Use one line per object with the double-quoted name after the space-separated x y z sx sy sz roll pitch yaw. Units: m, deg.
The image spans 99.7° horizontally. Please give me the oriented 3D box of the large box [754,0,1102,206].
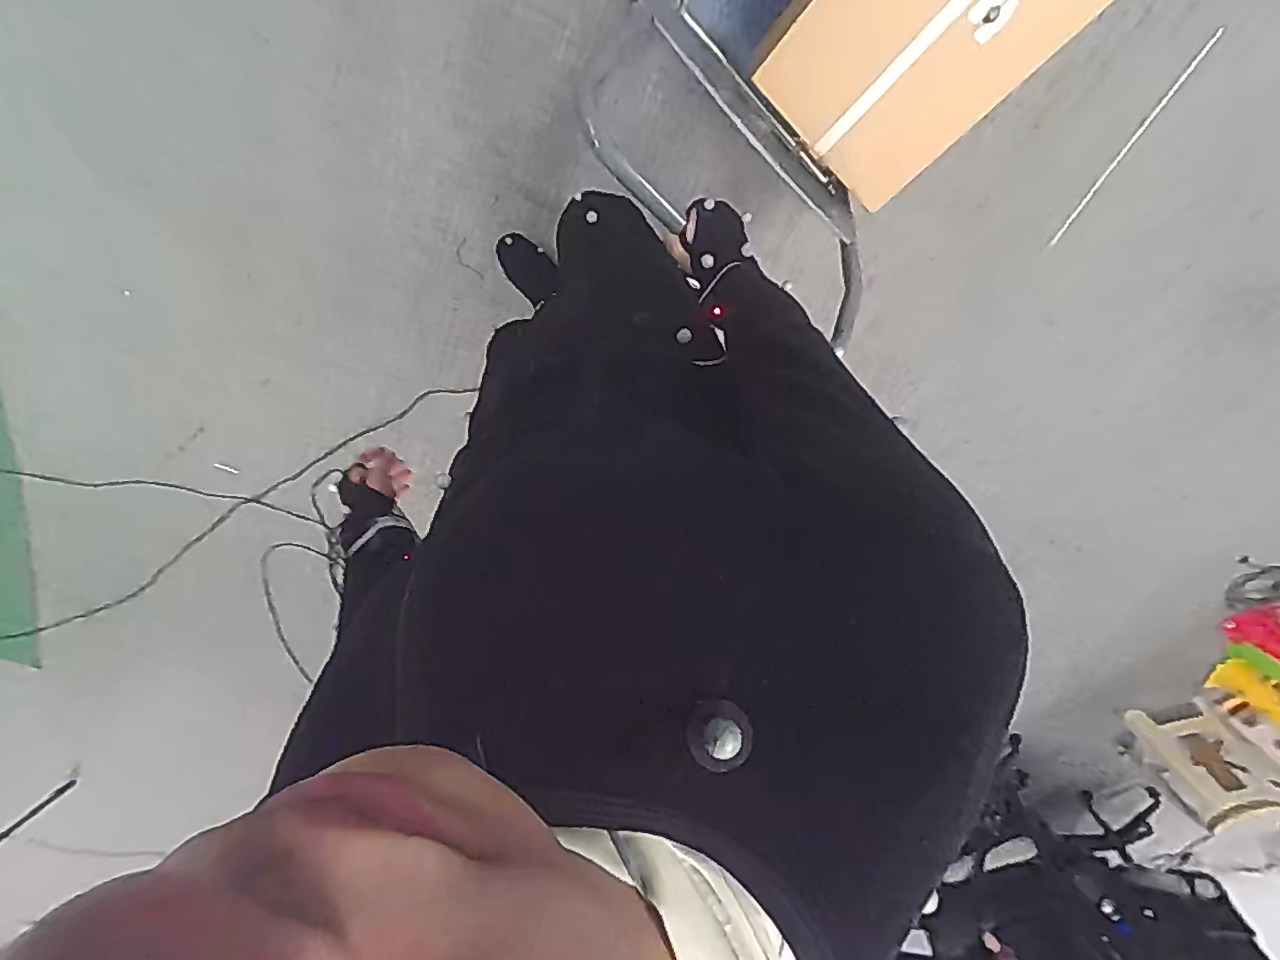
0.438 -0.759 0.886 0.320 0.320 0.408 34 132 -22 "large box"
